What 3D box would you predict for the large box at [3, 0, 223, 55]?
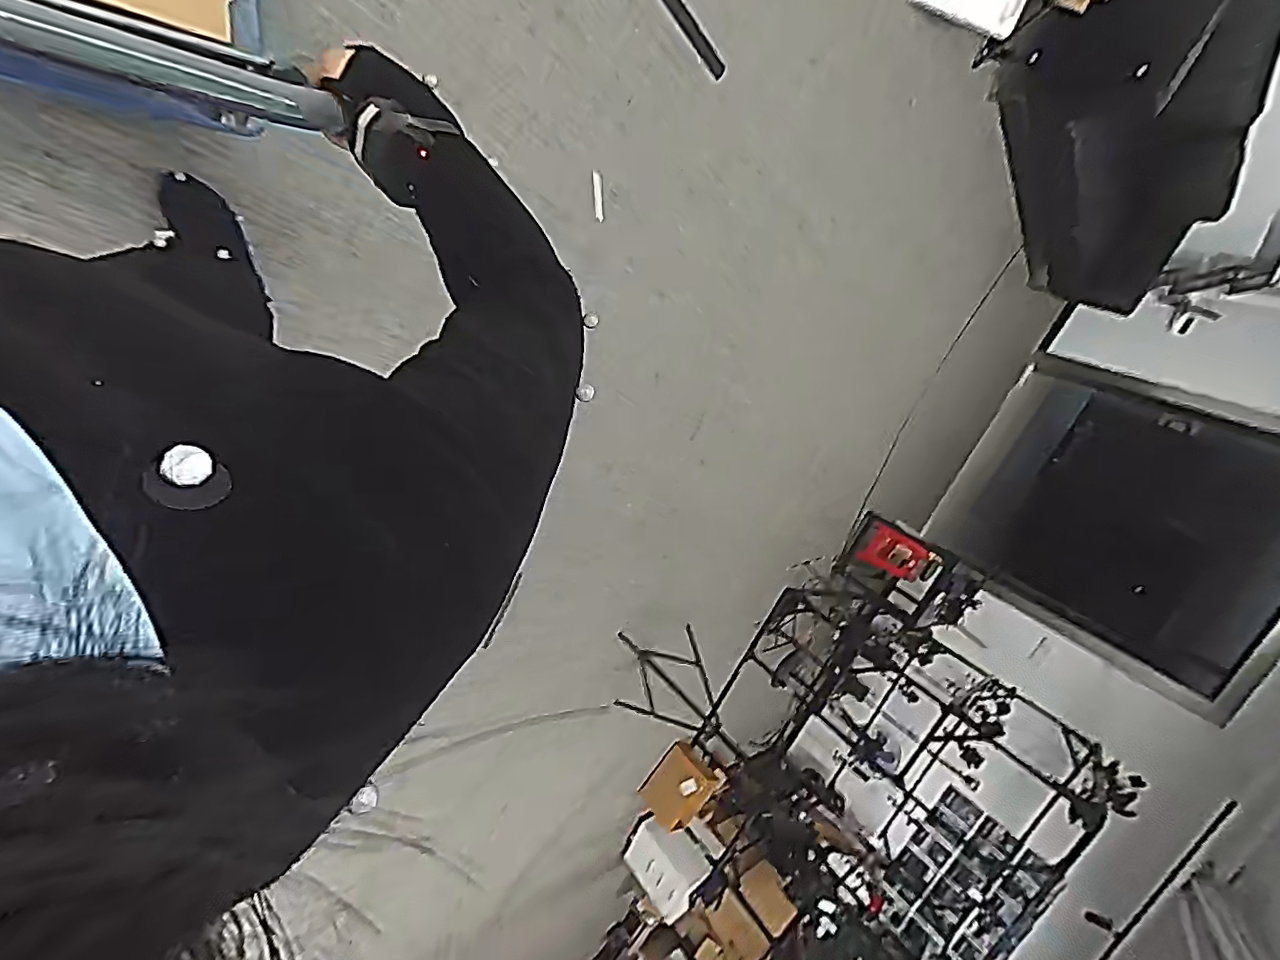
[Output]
[{"bbox_3d":[-0.712,-0.700,0.549,0.408,0.320,0.320,-9,123,-43],"label":"large box"}]
